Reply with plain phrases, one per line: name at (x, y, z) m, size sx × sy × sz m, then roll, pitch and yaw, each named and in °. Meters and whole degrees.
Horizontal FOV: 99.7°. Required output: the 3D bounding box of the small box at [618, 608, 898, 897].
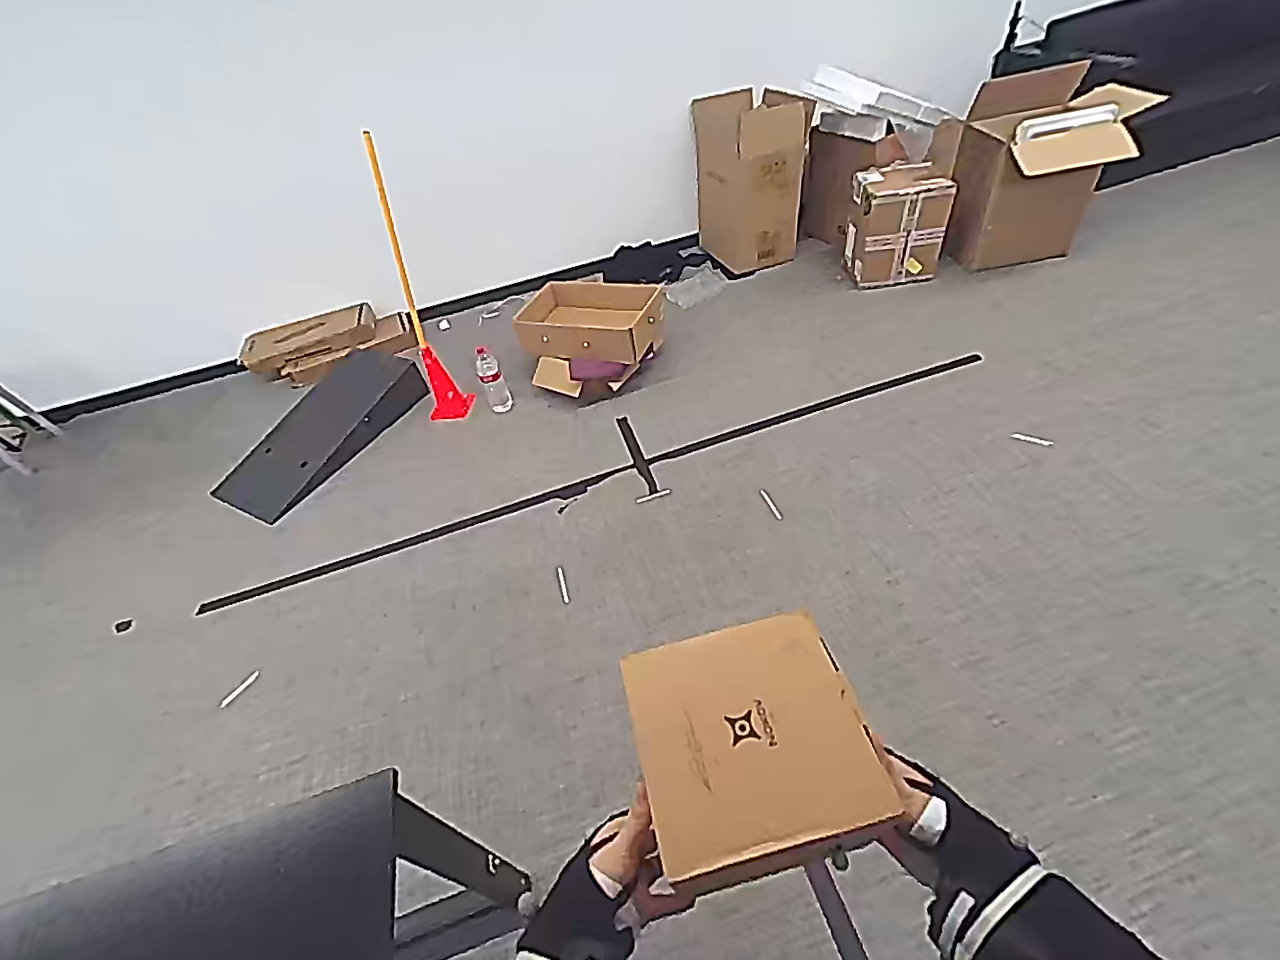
small box at (0.092, 0.245, 0.483) m, size 0.179 × 0.176 × 0.168 m, roll -16°, pitch 47°, yaw -2°
